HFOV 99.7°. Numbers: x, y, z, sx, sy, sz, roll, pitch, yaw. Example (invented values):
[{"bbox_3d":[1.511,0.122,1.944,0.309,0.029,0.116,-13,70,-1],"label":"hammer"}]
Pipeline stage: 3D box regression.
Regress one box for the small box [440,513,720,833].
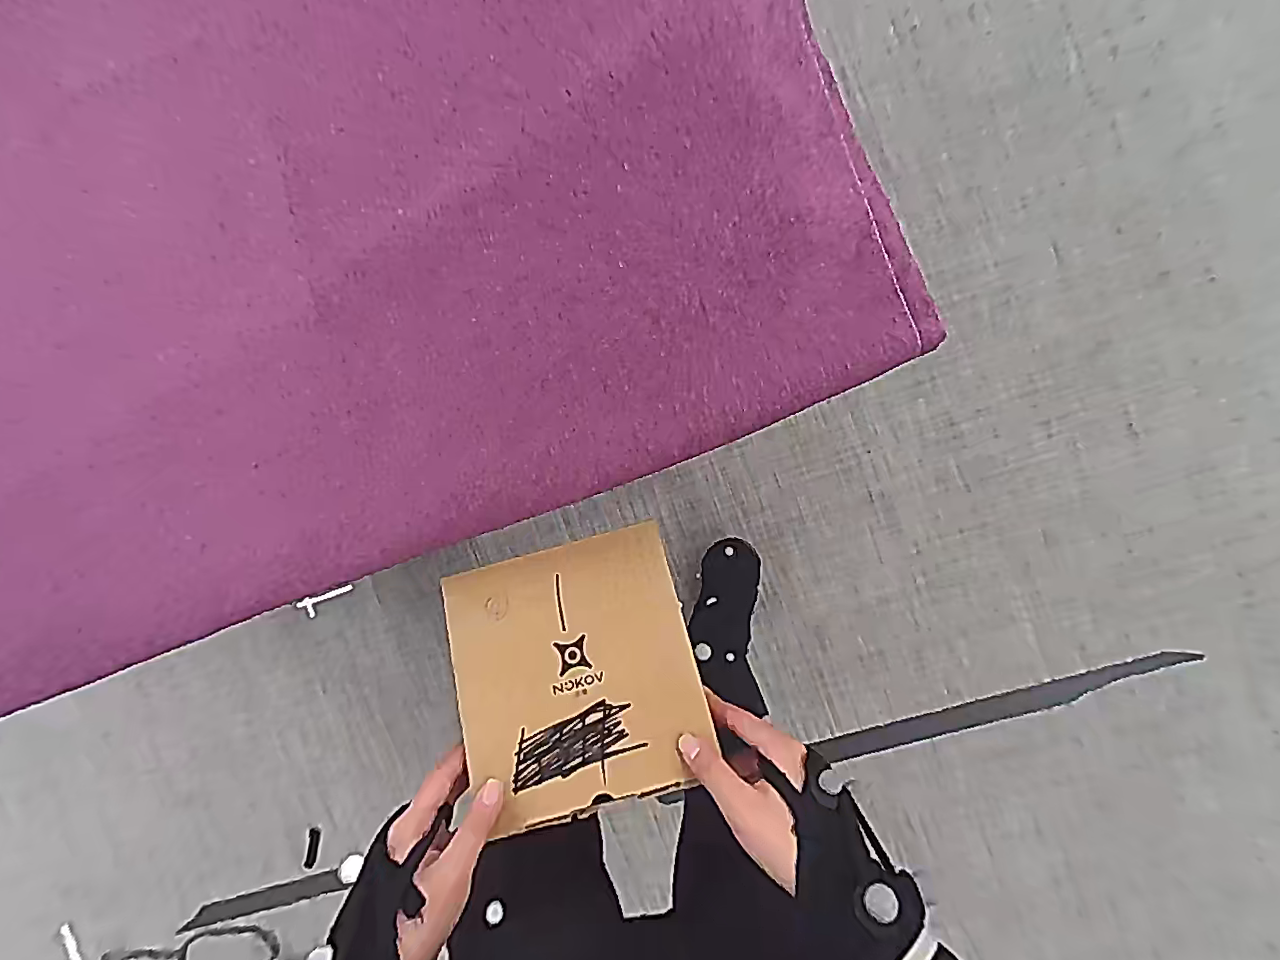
[{"bbox_3d":[-0.039,0.147,0.440,0.168,0.176,0.179,-16,70,-1],"label":"small box"}]
